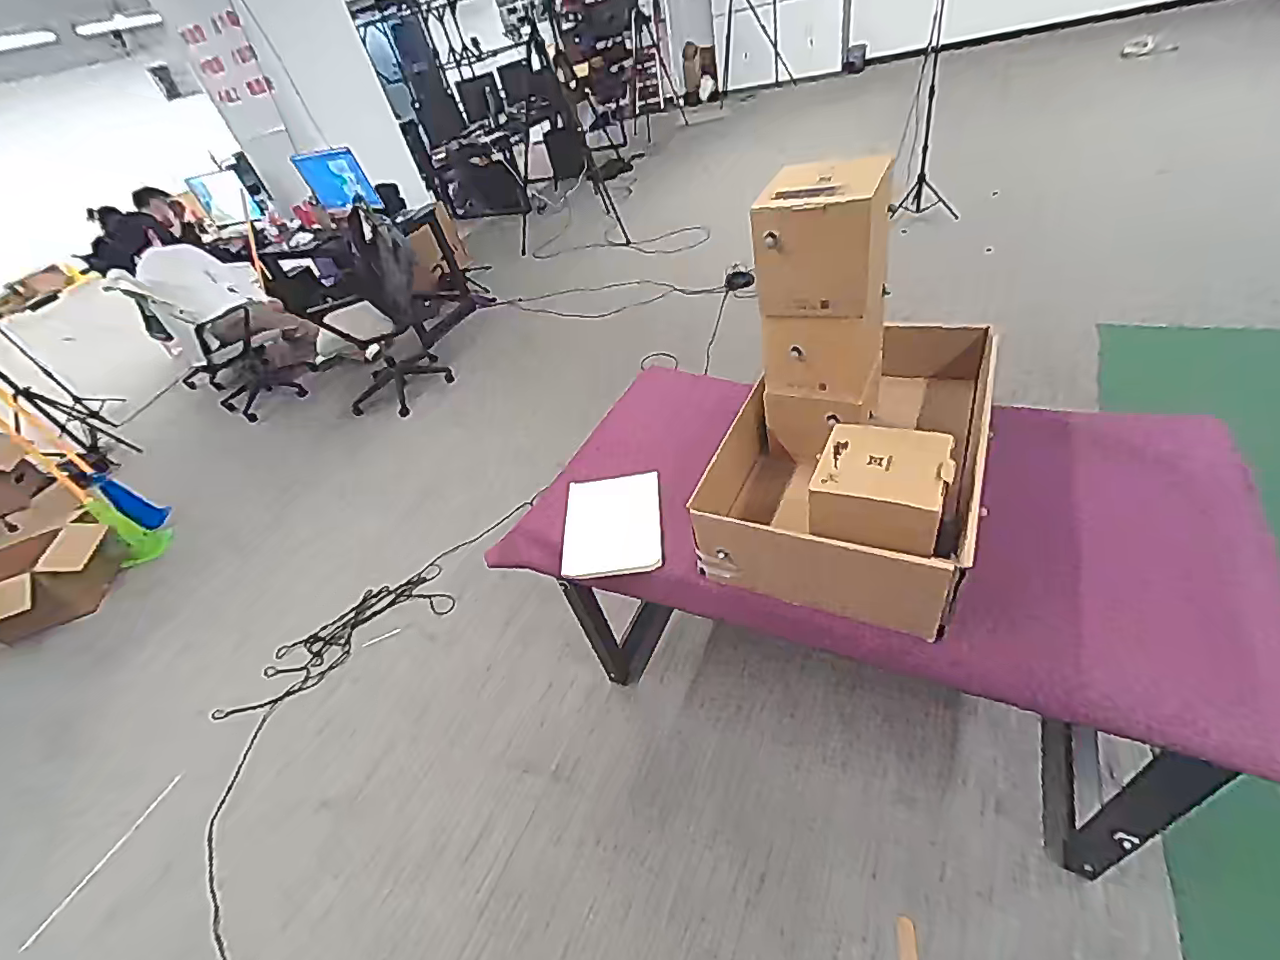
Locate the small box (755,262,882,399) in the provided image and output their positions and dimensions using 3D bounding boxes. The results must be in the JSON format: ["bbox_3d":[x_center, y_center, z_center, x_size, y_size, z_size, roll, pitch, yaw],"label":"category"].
[{"bbox_3d":[0.317,-0.262,0.950,0.168,0.176,0.179,12,50,29],"label":"small box"}]
